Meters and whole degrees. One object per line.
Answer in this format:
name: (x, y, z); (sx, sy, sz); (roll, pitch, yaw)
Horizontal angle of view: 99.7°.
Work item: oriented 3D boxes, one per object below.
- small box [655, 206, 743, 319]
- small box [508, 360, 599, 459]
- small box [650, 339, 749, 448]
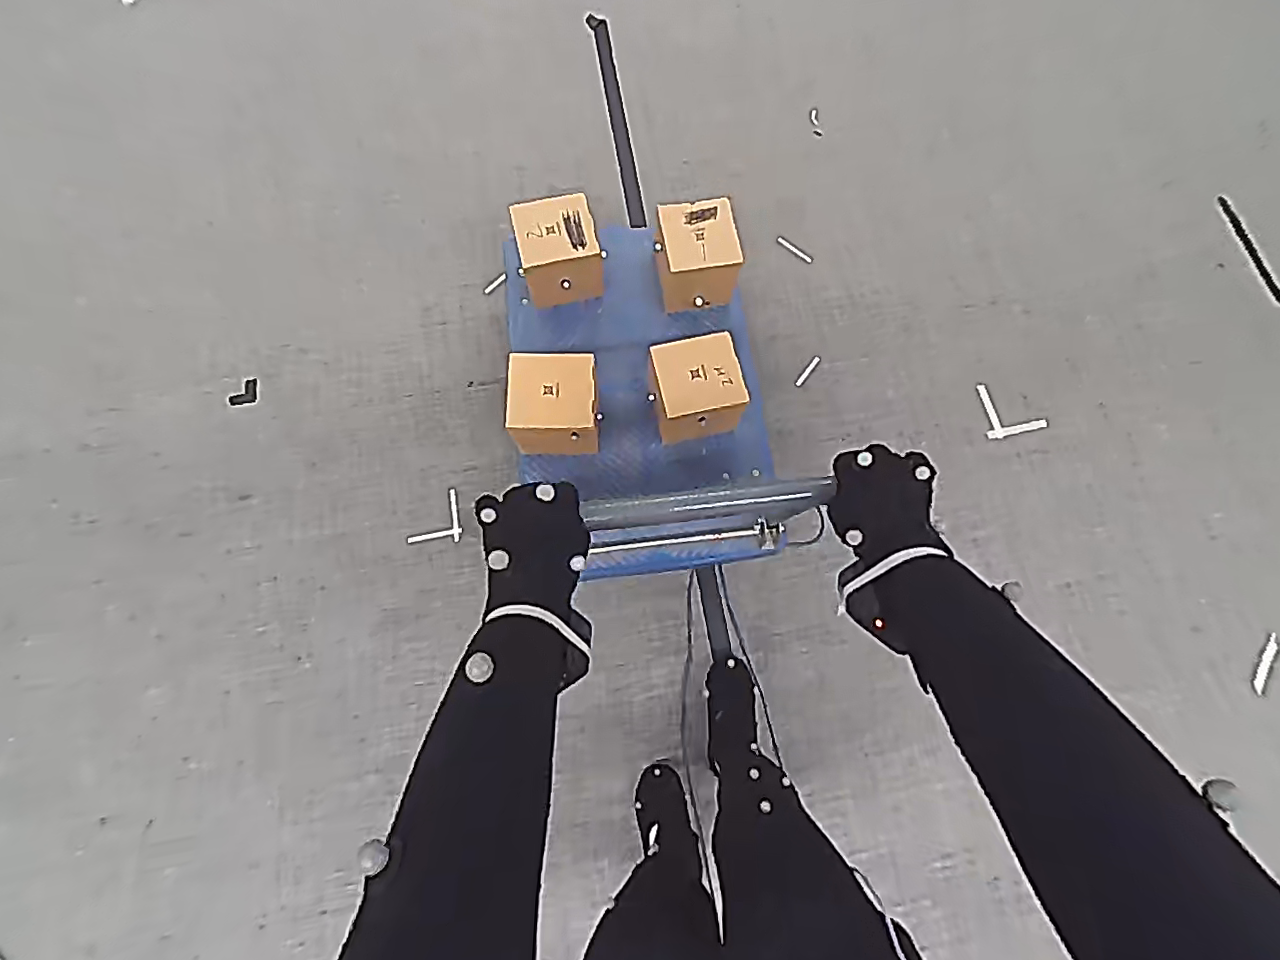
small box: (0.132, -0.511, 1.283); (0.168, 0.176, 0.179); (-9, 76, -4)
small box: (-0.180, -0.147, 1.176); (0.179, 0.176, 0.168); (0, 74, -3)
small box: (0.122, -0.183, 1.192); (0.179, 0.176, 0.168); (-12, 75, -4)
